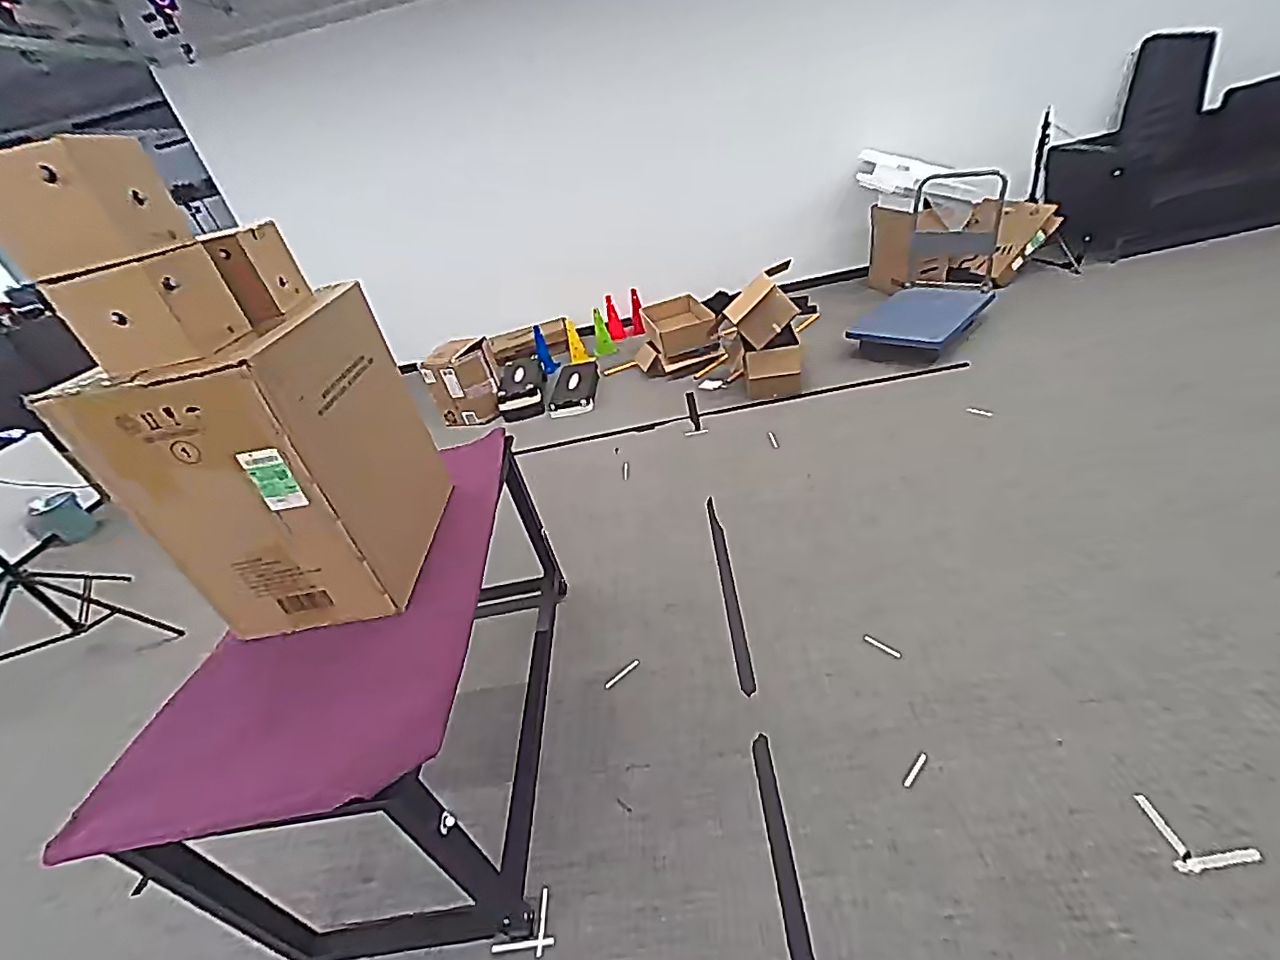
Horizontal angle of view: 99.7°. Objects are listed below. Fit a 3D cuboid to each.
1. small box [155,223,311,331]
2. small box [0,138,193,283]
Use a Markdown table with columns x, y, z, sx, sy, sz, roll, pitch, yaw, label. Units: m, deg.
| x | y | z | sx | sy | sz | roll | pitch | yaw | label |
| --- | --- | --- | --- | --- | --- | --- | --- | --- | --- |
| -0.866 | -0.438 | 1.171 | 0.179 | 0.176 | 0.168 | -12 | 34 | 1 | small box |
| -0.884 | -0.432 | 0.866 | 0.179 | 0.176 | 0.168 | -14 | 32 | 0 | small box |
